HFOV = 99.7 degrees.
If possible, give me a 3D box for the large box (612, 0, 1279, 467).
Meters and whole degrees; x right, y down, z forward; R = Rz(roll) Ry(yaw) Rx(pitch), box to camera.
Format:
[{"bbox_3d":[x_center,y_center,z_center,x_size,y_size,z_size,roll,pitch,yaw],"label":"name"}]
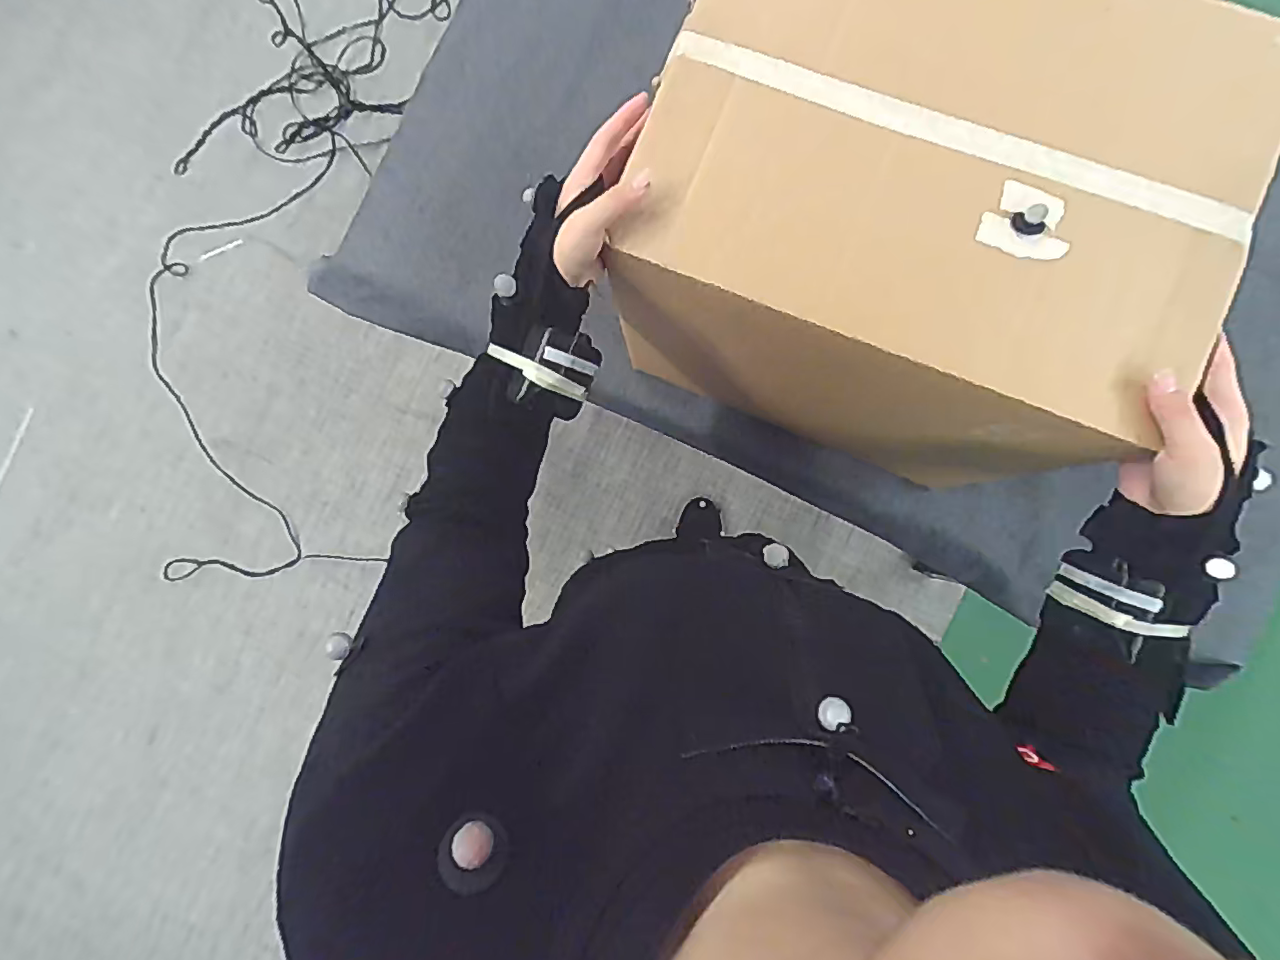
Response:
[{"bbox_3d":[0.220,-0.236,0.530,0.408,0.320,0.320,22,88,4],"label":"large box"}]
